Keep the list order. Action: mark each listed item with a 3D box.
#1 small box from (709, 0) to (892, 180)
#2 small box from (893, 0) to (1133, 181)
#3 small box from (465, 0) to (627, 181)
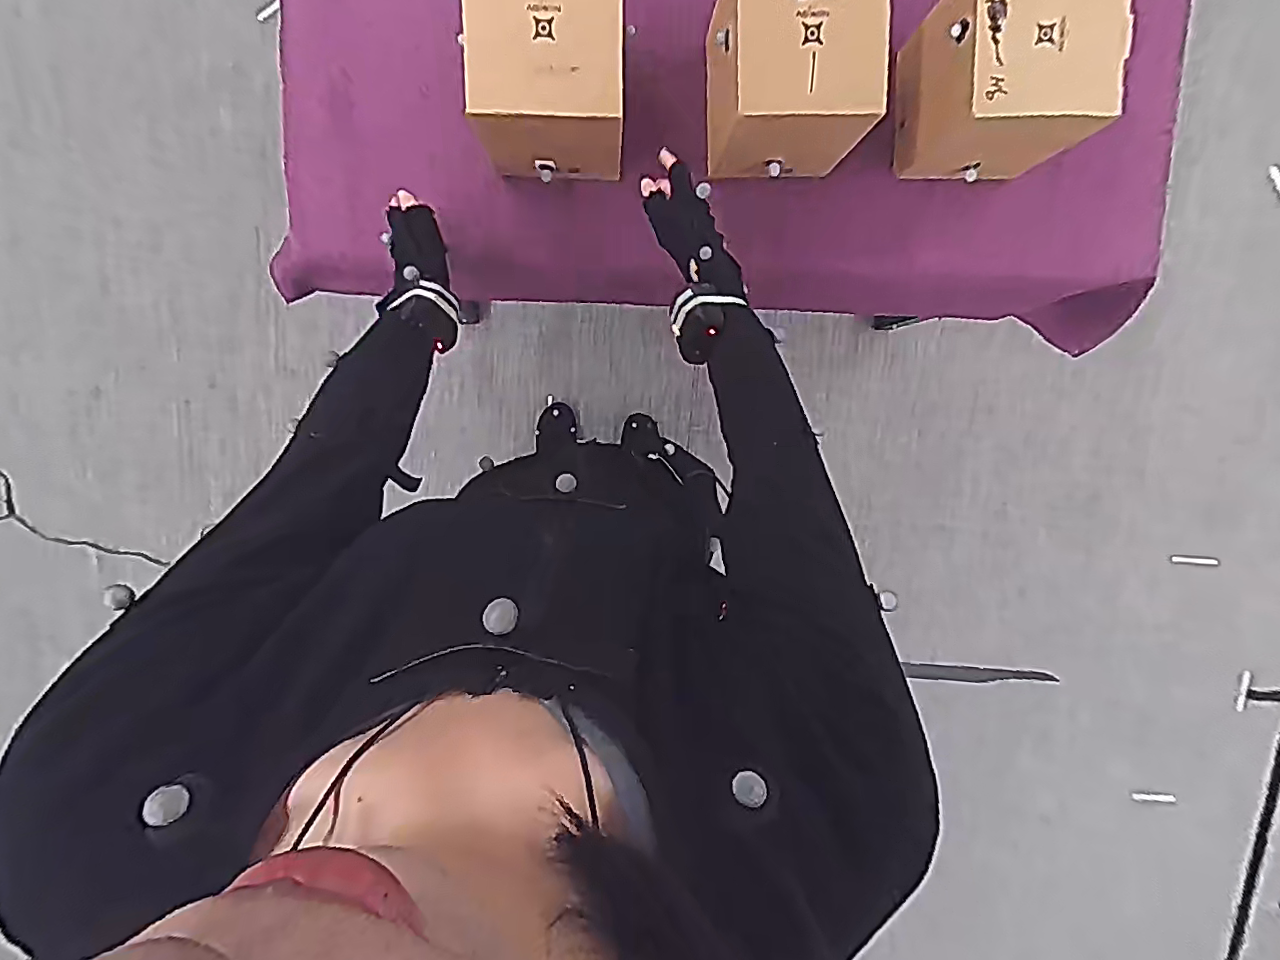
[{"bbox_3d":[0.178,-0.486,0.645,0.168,0.176,0.179,-2,98,-3],"label":"small box"},{"bbox_3d":[0.442,-0.487,0.663,0.179,0.176,0.168,-2,97,-4],"label":"small box"},{"bbox_3d":[-0.100,-0.477,0.630,0.168,0.176,0.179,0,98,-3],"label":"small box"}]
